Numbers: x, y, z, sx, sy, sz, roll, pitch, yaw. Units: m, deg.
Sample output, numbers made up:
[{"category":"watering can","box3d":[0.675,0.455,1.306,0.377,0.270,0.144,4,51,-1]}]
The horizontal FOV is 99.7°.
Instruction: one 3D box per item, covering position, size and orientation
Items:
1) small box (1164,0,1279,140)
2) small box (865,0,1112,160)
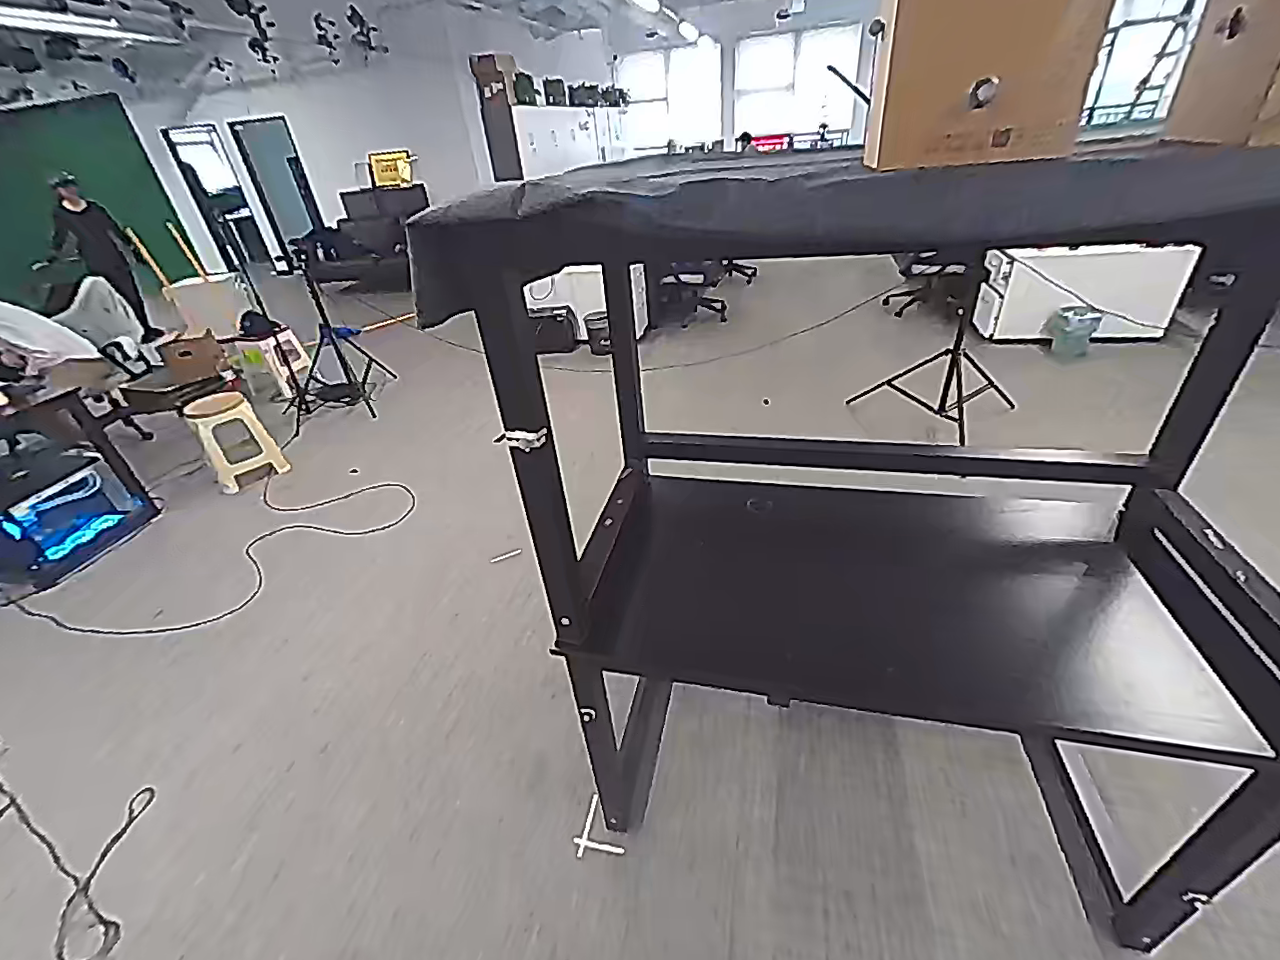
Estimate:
[{"category":"small box","box3d":[0.615,-0.399,0.463,0.168,0.176,0.179,6,33,18]},{"category":"small box","box3d":[0.324,-0.416,0.532,0.168,0.176,0.179,4,32,15]}]
